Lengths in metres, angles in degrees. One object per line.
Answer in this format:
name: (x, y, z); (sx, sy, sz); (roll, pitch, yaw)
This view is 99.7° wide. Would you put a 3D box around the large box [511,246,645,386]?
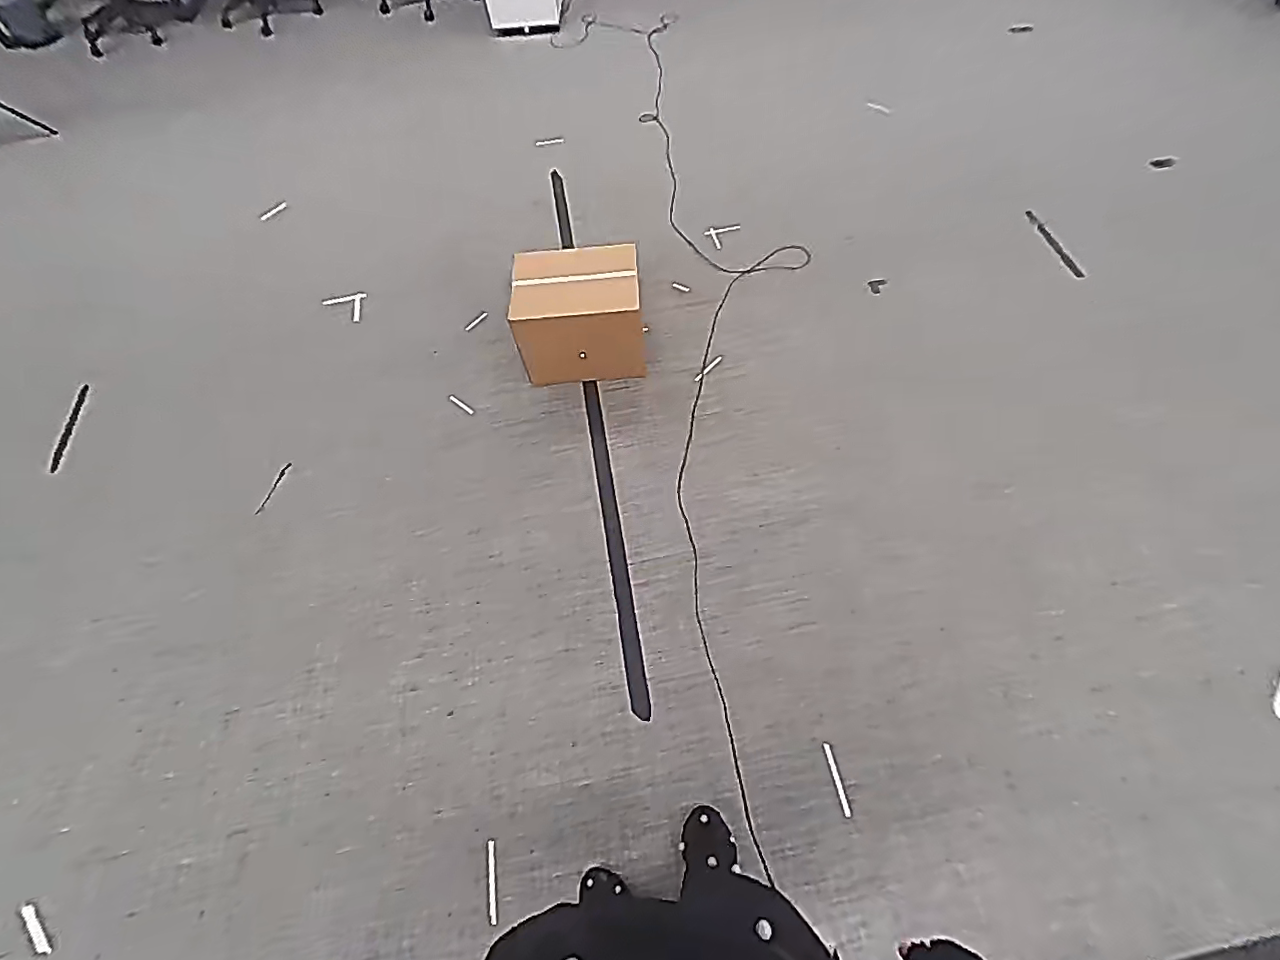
large box: (-0.197, -0.546, 1.827); (0.408, 0.320, 0.320); (-4, 61, 1)
